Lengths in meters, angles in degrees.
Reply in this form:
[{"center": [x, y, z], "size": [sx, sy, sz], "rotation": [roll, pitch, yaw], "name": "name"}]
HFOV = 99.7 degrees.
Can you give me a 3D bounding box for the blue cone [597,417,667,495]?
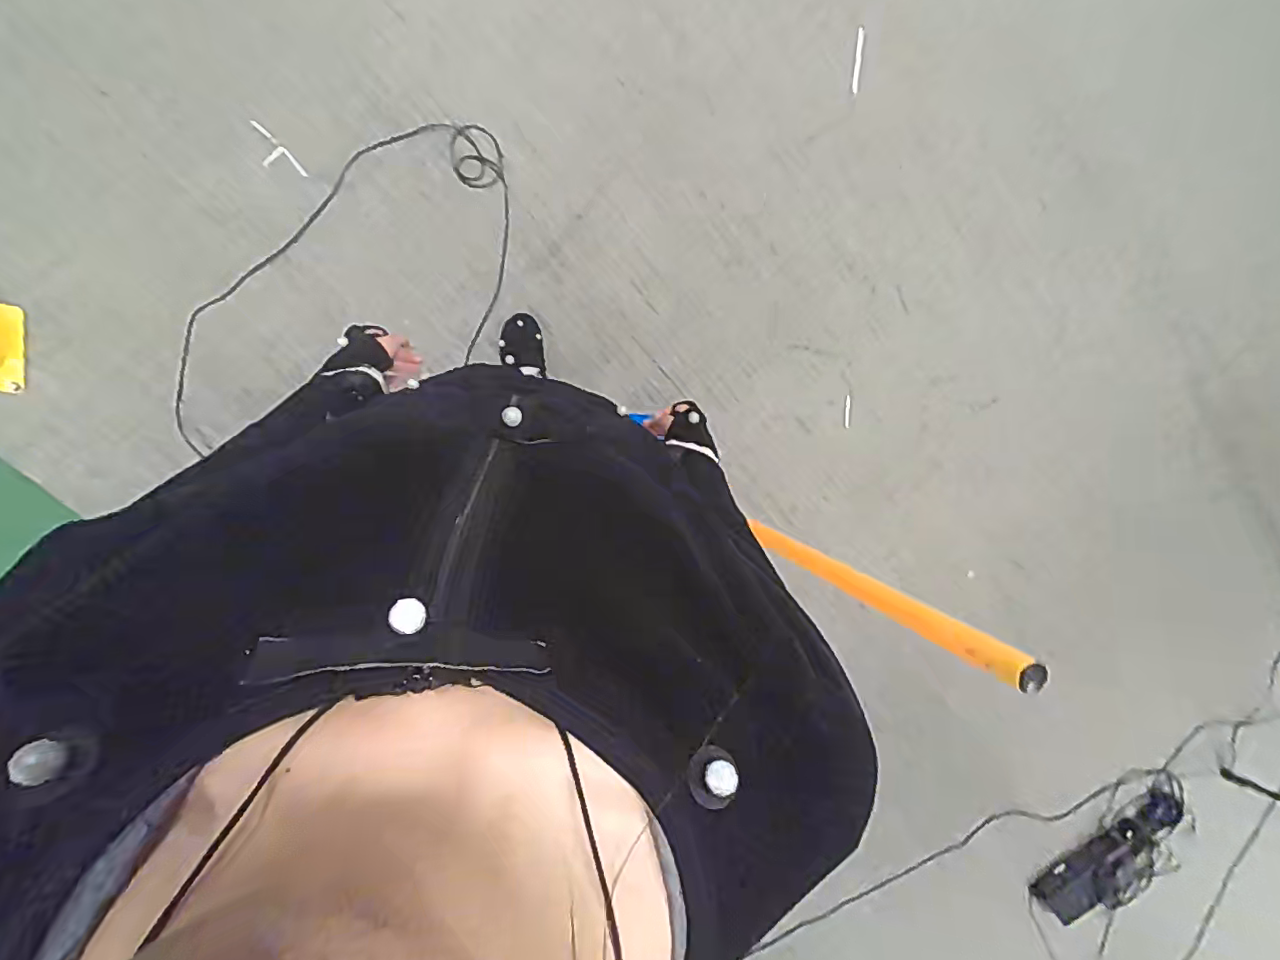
[{"center": [0.005, -0.038, 1.326], "size": [0.193, 0.380, 0.192], "rotation": [2, 103, -10], "name": "blue cone"}]
